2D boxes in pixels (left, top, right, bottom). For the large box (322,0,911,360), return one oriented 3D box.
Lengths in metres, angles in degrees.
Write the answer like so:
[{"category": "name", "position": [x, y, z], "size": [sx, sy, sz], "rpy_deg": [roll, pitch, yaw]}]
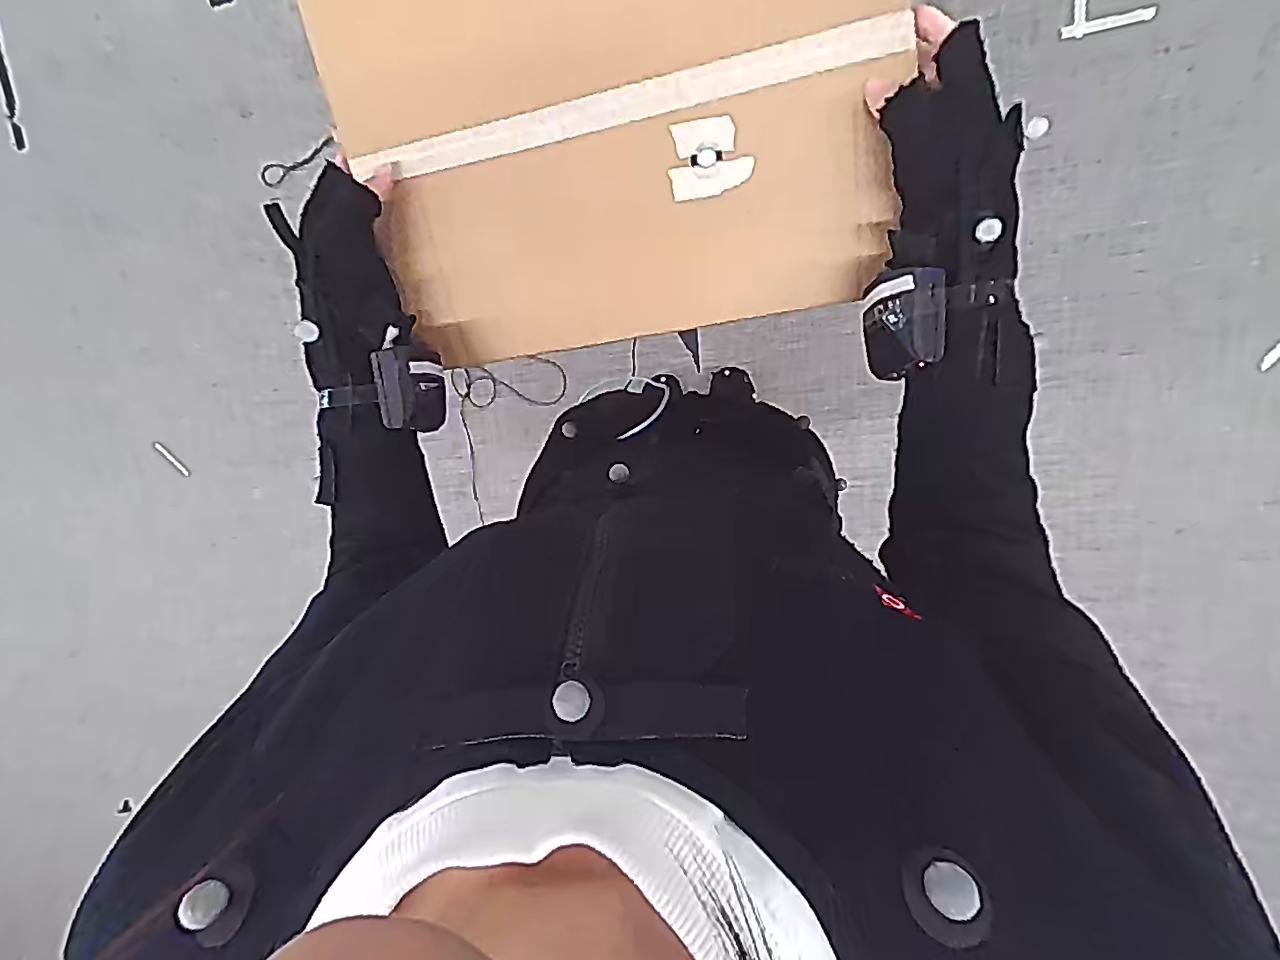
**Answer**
[{"category": "large box", "position": [-0.001, -0.324, 0.530], "size": [0.408, 0.320, 0.320], "rpy_deg": [-7, 110, 10]}]
